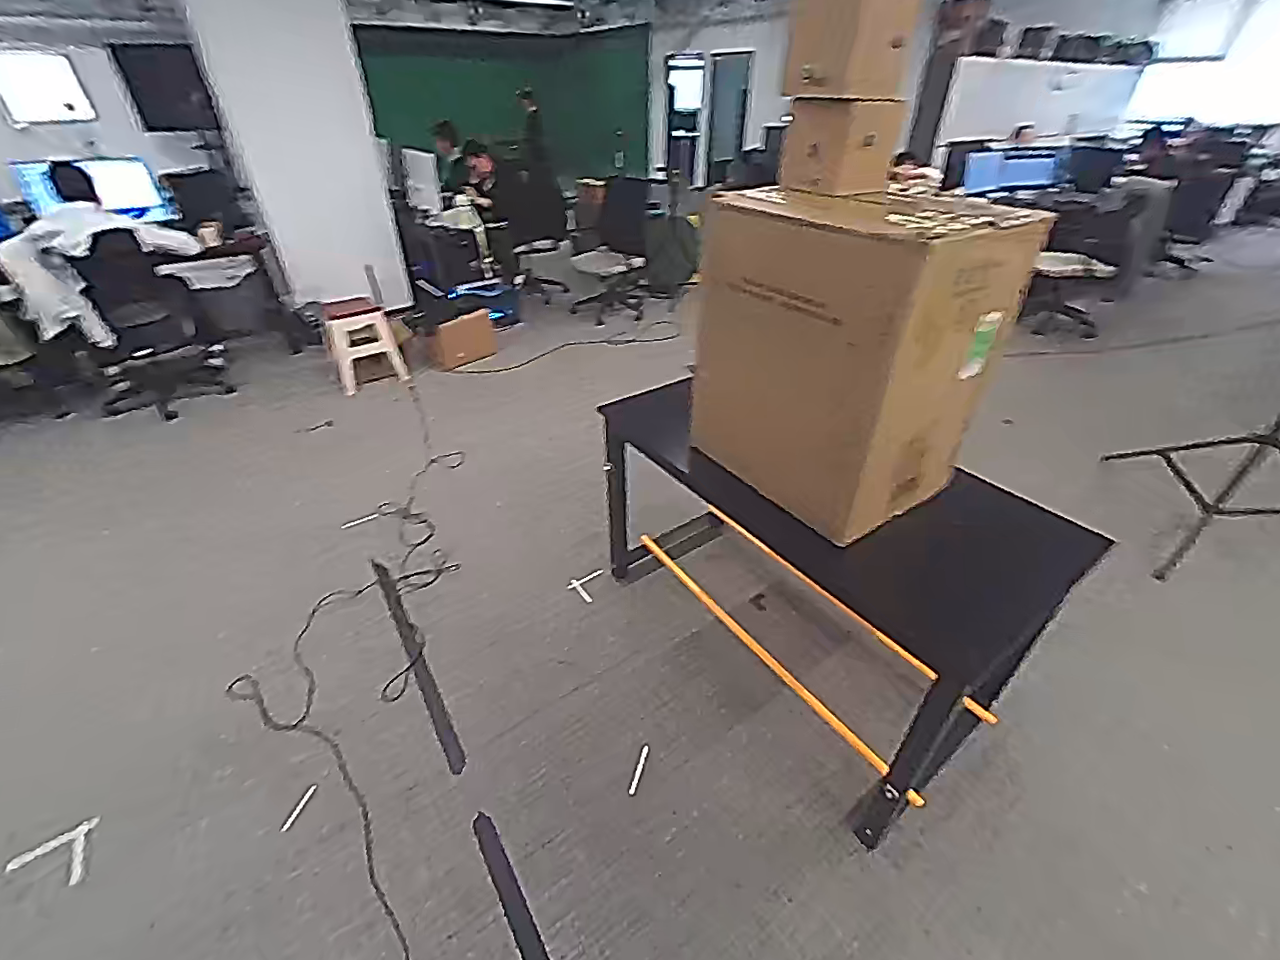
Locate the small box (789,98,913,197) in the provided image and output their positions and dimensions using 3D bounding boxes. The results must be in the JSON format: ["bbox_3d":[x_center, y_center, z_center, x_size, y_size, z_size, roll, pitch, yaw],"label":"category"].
[{"bbox_3d":[0.439,-0.711,1.153,0.179,0.176,0.168,-22,42,-28],"label":"small box"}]

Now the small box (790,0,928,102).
[{"bbox_3d":[0.412,-0.835,1.043,0.179,0.176,0.168,-24,42,-30],"label":"small box"}]
